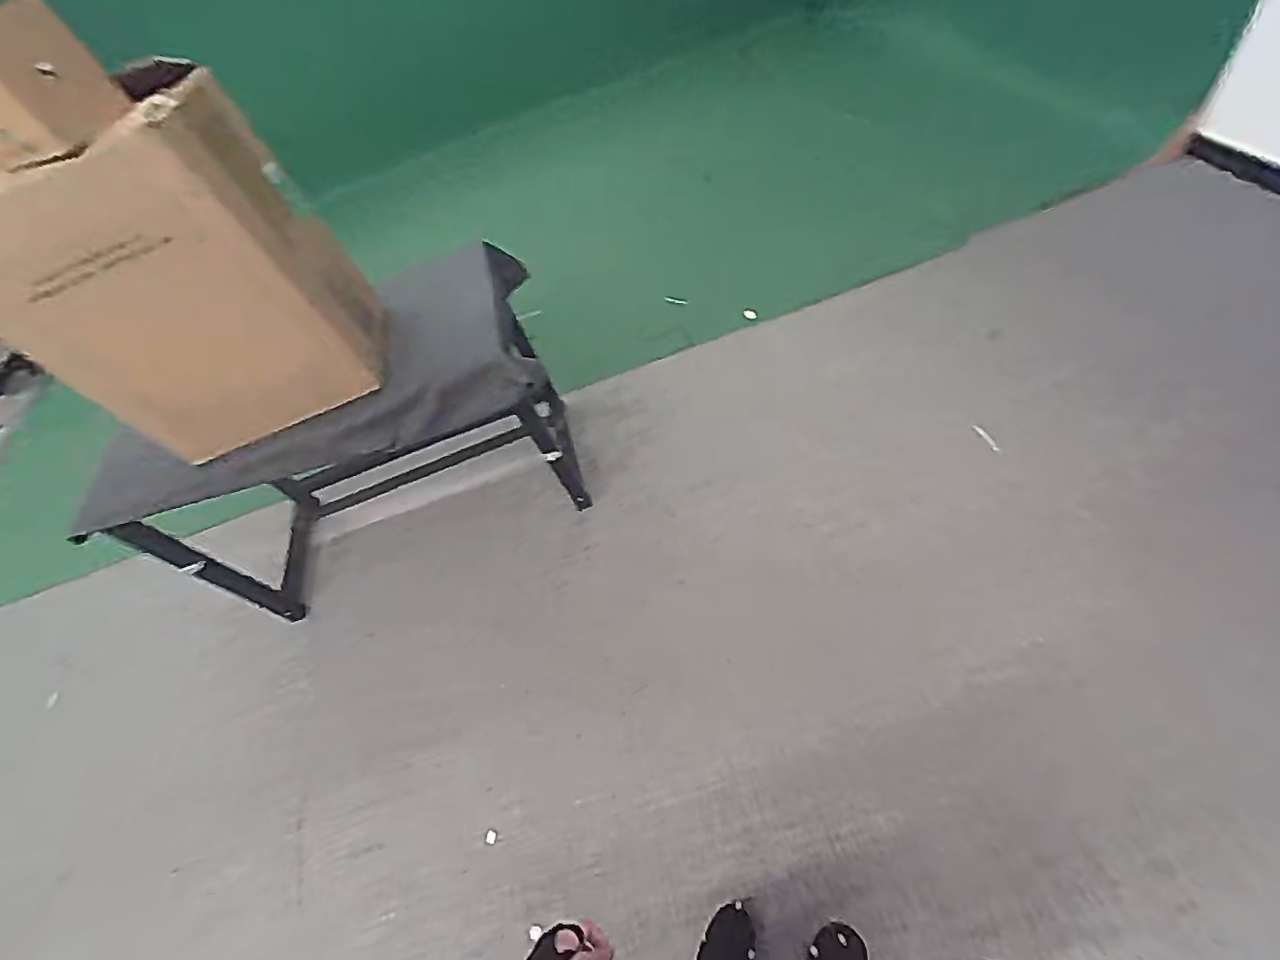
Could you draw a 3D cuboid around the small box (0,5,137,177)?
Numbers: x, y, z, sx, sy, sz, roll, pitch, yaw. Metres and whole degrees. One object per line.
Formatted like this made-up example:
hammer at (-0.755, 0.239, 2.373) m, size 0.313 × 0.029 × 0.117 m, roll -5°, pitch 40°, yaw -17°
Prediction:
small box at (-1.010, -0.643, 0.903) m, size 0.168 × 0.176 × 0.179 m, roll -3°, pitch 55°, yaw 16°
